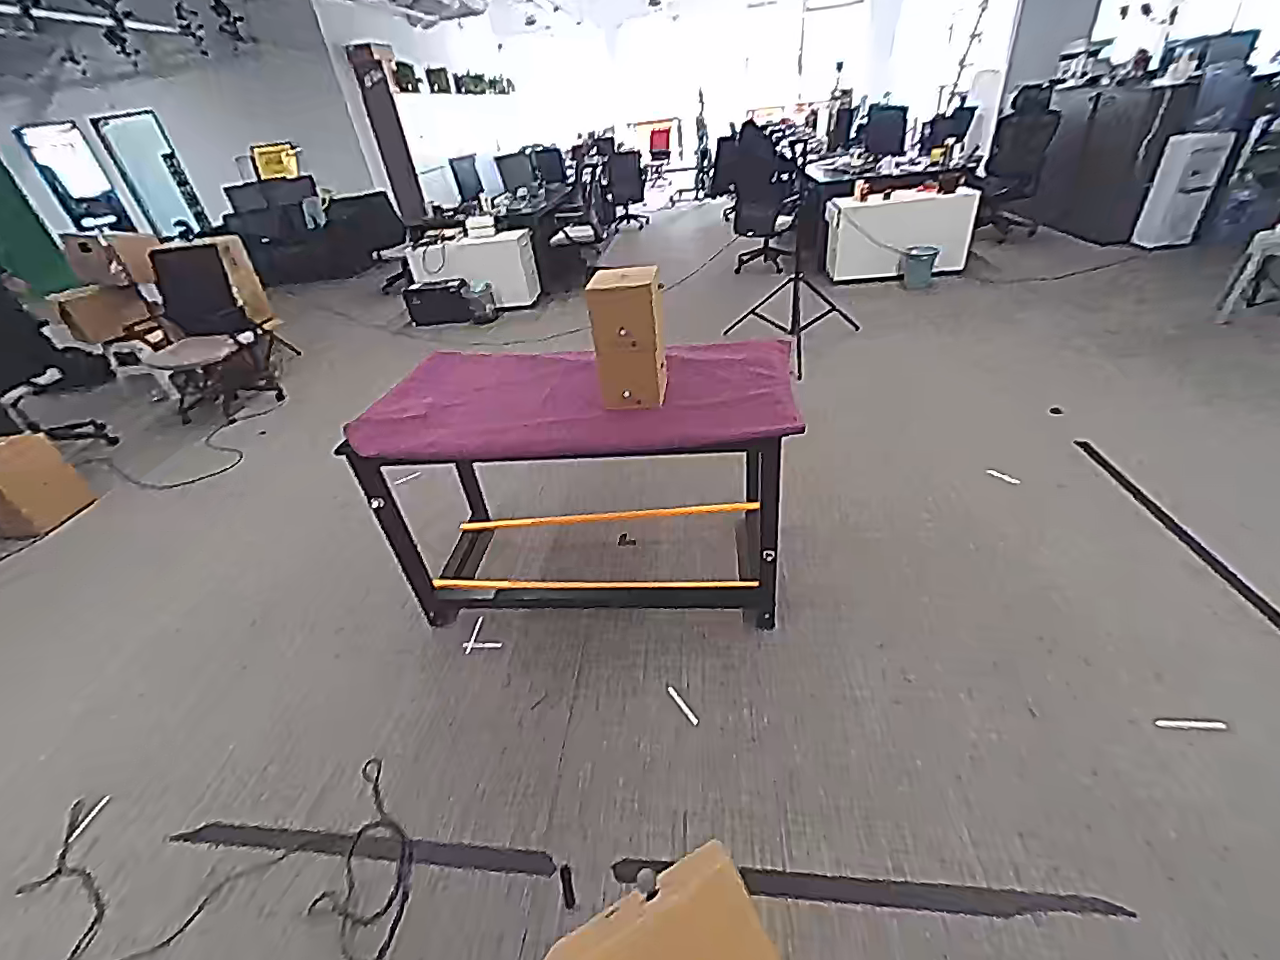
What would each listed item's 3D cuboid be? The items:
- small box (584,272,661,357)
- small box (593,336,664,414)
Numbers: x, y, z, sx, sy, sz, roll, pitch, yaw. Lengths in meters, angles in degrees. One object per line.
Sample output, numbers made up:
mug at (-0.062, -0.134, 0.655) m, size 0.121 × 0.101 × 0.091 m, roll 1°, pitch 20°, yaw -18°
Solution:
small box at (-0.038, -0.435, 1.422) m, size 0.168 × 0.176 × 0.179 m, roll -2°, pitch 35°, yaw 10°
small box at (-0.025, -0.299, 1.515) m, size 0.168 × 0.176 × 0.179 m, roll -1°, pitch 35°, yaw 10°
